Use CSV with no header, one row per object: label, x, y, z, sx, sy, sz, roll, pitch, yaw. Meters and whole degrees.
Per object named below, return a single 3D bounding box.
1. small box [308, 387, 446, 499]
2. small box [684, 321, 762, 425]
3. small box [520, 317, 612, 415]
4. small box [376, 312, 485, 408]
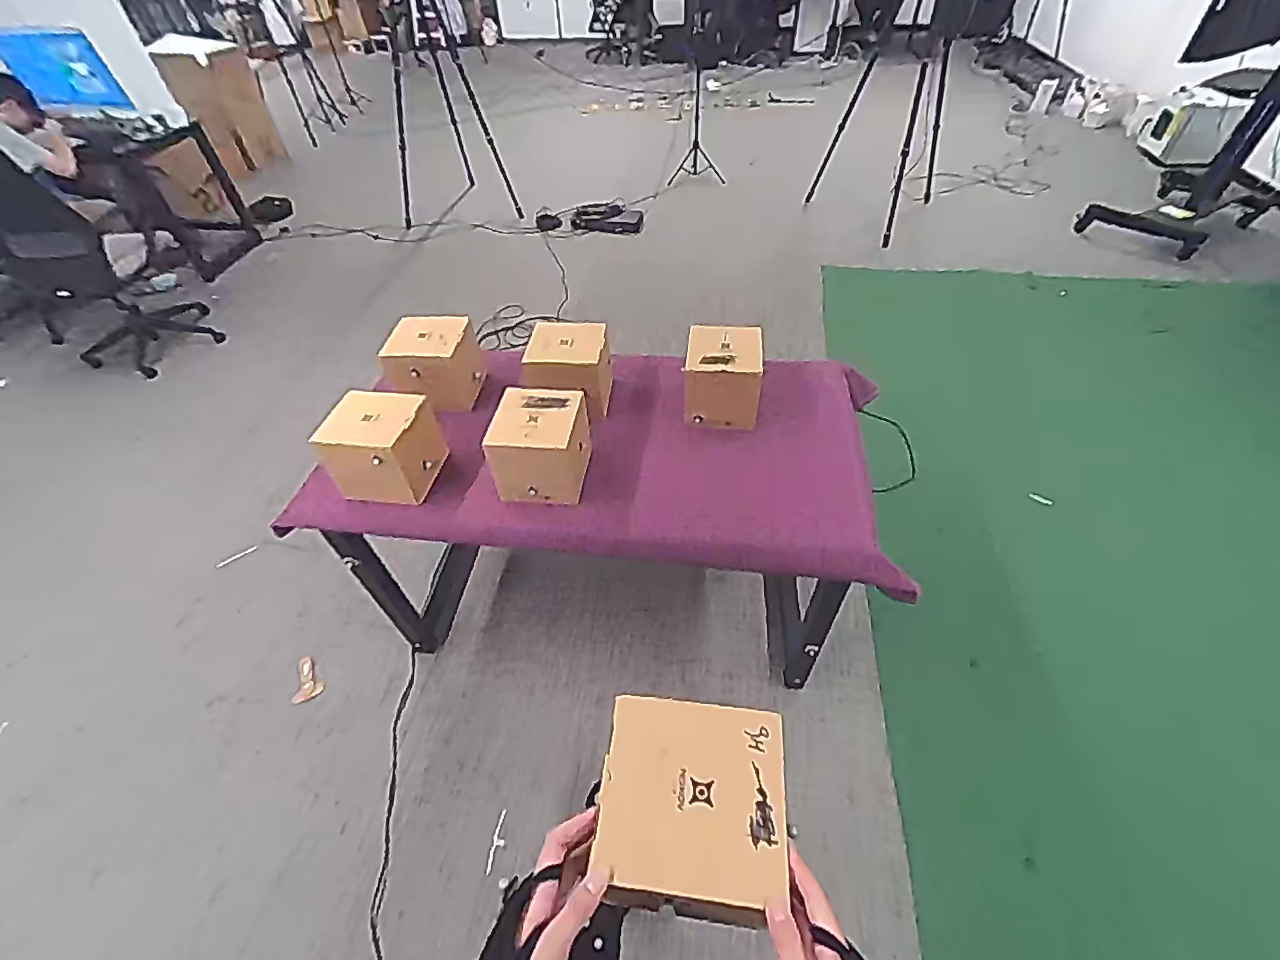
small box,-0.538,-0.076,1.132,0.179,0.176,0.168,5,47,6
small box,0.191,-0.244,1.245,0.168,0.176,0.179,4,48,7
small box,-0.165,-0.268,1.288,0.179,0.176,0.168,2,48,6
small box,-0.501,-0.292,1.323,0.179,0.176,0.168,2,49,4
